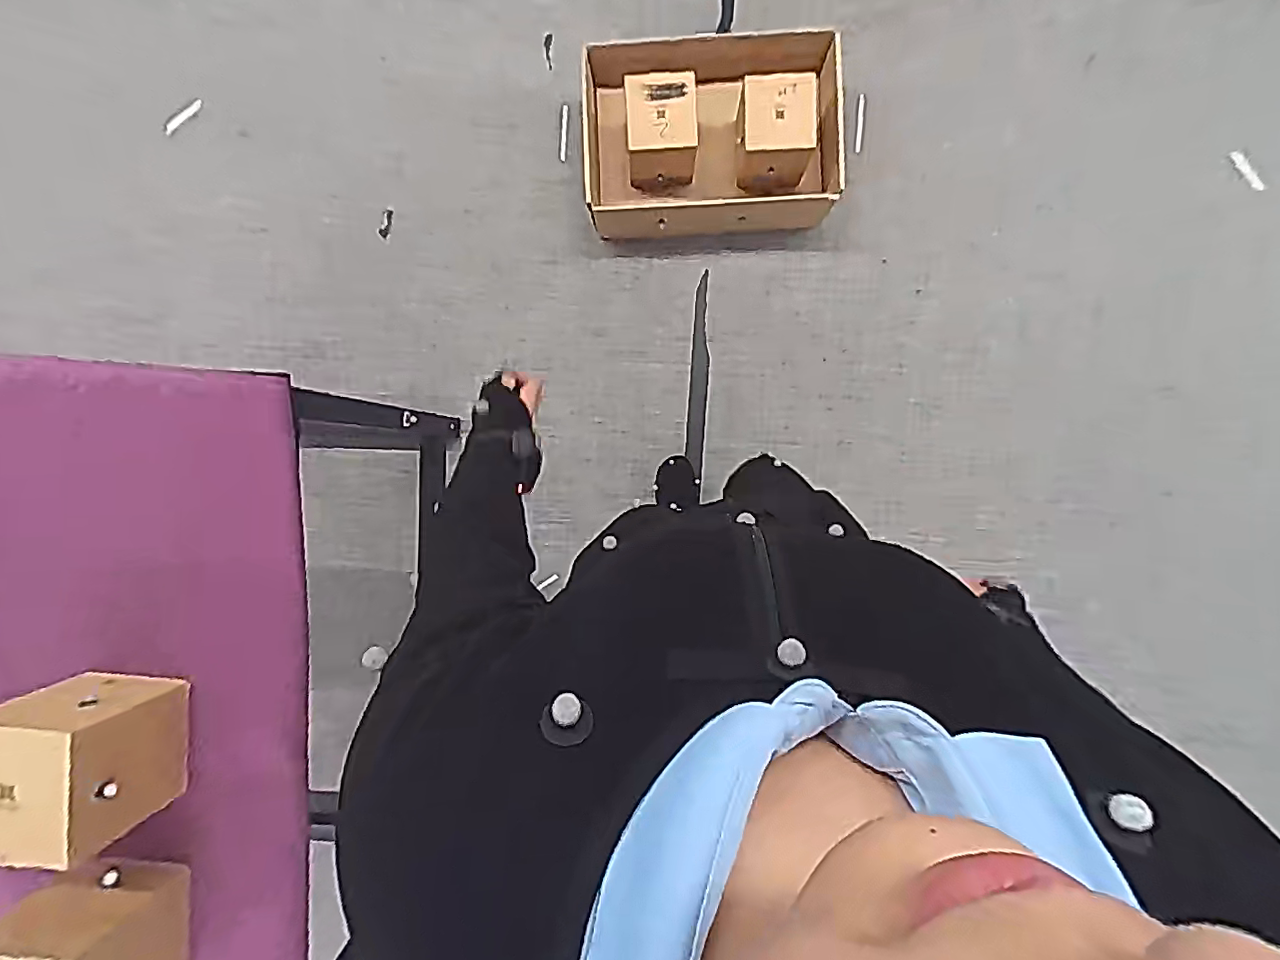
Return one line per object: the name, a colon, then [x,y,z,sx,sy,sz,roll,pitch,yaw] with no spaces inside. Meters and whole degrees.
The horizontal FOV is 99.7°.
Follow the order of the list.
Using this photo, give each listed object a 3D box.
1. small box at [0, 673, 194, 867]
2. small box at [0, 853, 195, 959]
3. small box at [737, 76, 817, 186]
small box: [-0.761,0.382,0.743,0.168,0.176,0.179,3,92,3]
small box: [-0.766,0.667,0.750,0.168,0.176,0.179,3,91,2]
small box: [0.334,-0.851,1.336,0.168,0.176,0.179,-1,91,2]
